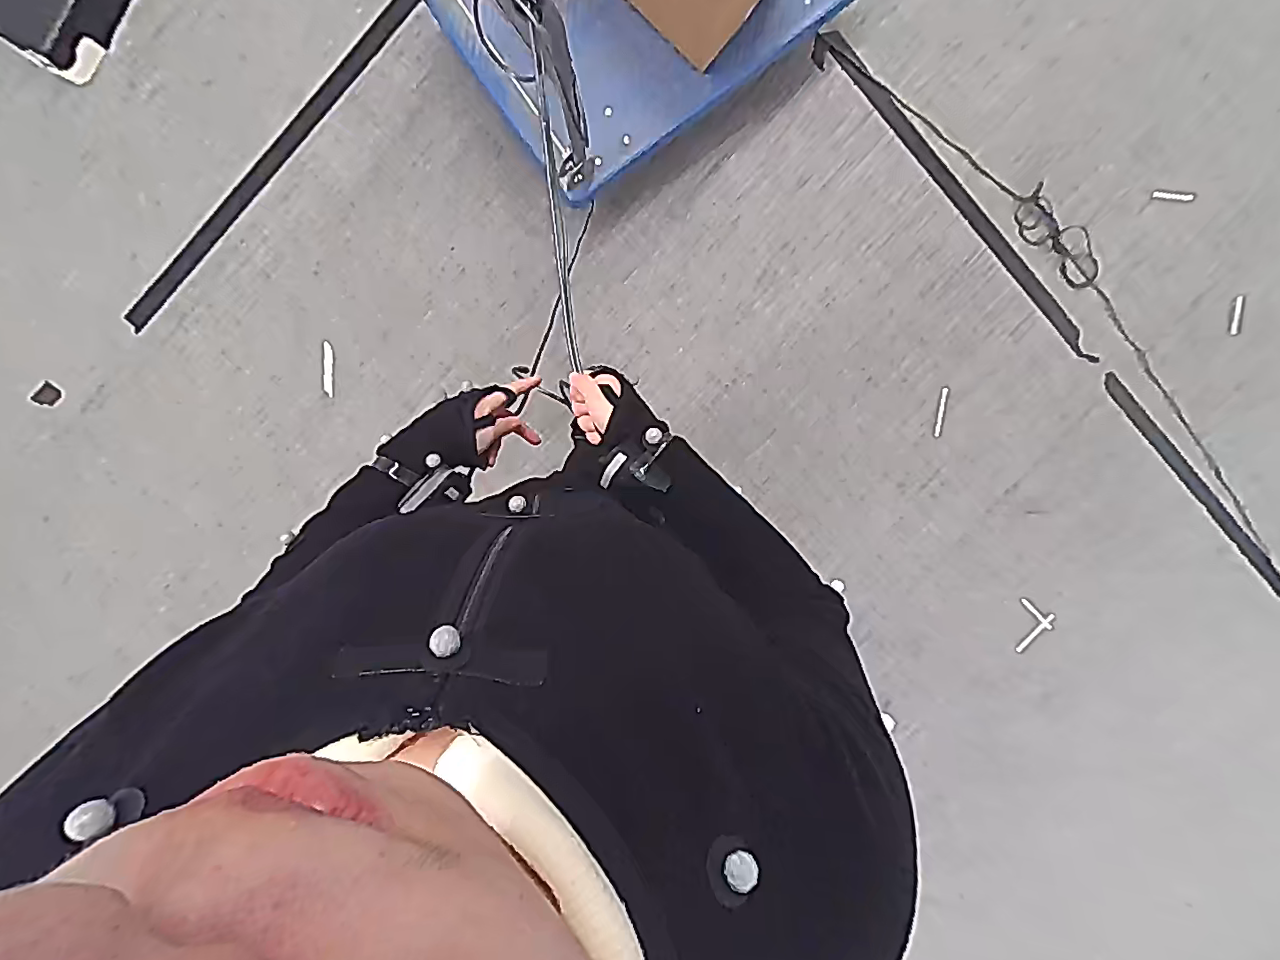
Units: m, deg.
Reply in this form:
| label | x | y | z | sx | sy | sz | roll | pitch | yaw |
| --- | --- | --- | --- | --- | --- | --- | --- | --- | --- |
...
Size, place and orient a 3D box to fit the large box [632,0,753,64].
| label | x | y | z | sx | sy | sz | roll | pitch | yaw |
| --- | --- | --- | --- | --- | --- | --- | --- | --- | --- |
| large box | 0.088 | -1.128 | 1.010 | 0.408 | 0.320 | 0.320 | 39 | 95 | -9 |
